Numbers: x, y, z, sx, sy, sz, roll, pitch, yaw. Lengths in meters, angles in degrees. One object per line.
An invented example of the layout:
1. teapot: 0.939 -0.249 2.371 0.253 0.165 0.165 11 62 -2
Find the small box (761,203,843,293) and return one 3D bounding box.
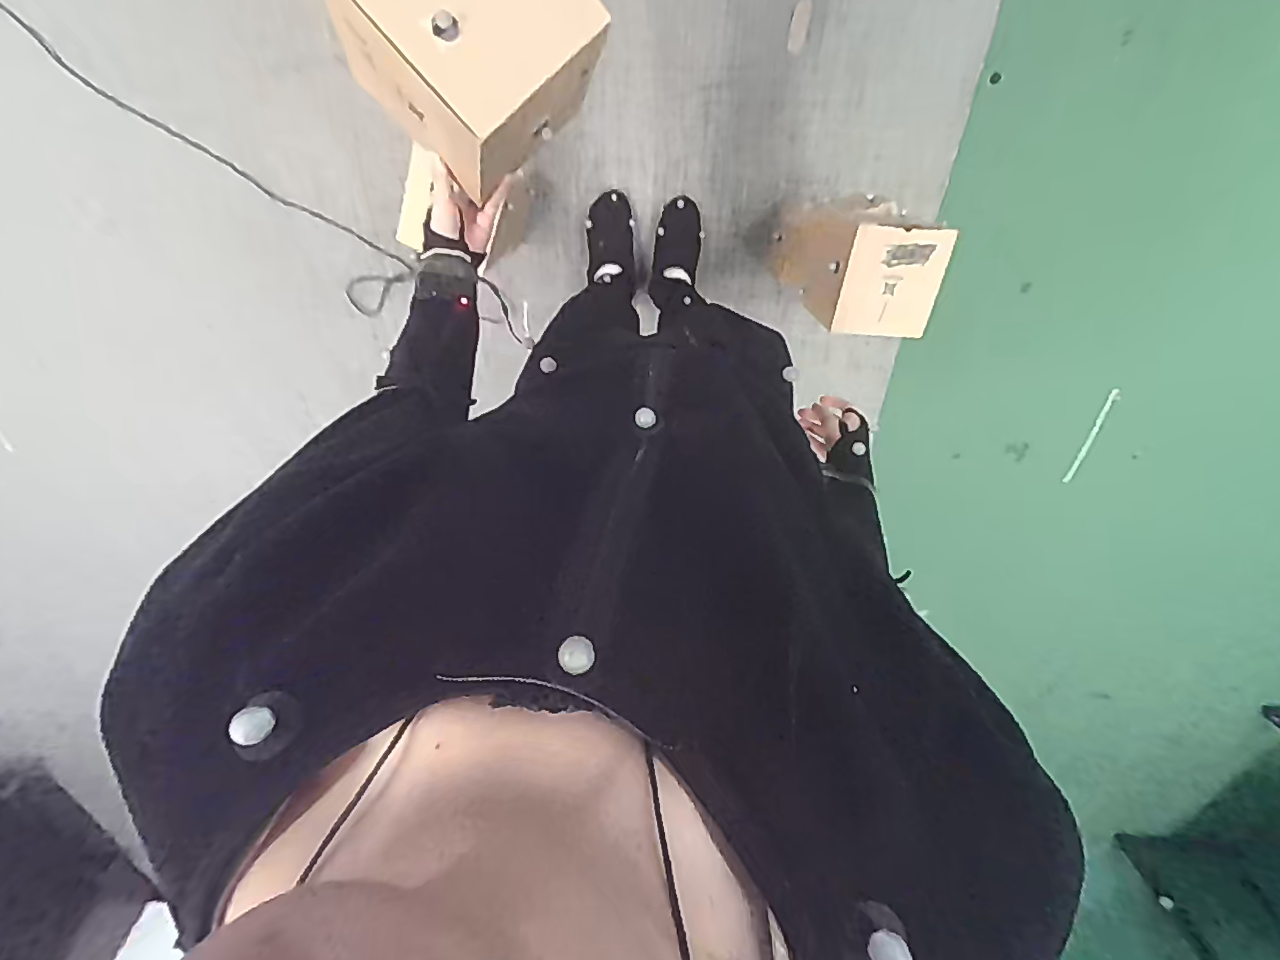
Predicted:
1. small box: 0.396 -0.528 1.244 0.179 0.176 0.168 10 121 -8

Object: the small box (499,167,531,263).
1. small box: -0.340 -0.600 1.176 0.168 0.176 0.179 15 121 -10

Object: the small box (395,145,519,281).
1. small box: -0.344 -0.514 1.039 0.168 0.176 0.179 20 119 -13

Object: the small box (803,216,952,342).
1. small box: 0.405 -0.361 0.961 0.168 0.176 0.179 3 123 -4

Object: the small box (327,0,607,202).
1. small box: -0.156 -0.411 0.507 0.176 0.168 0.179 -47 109 -6
